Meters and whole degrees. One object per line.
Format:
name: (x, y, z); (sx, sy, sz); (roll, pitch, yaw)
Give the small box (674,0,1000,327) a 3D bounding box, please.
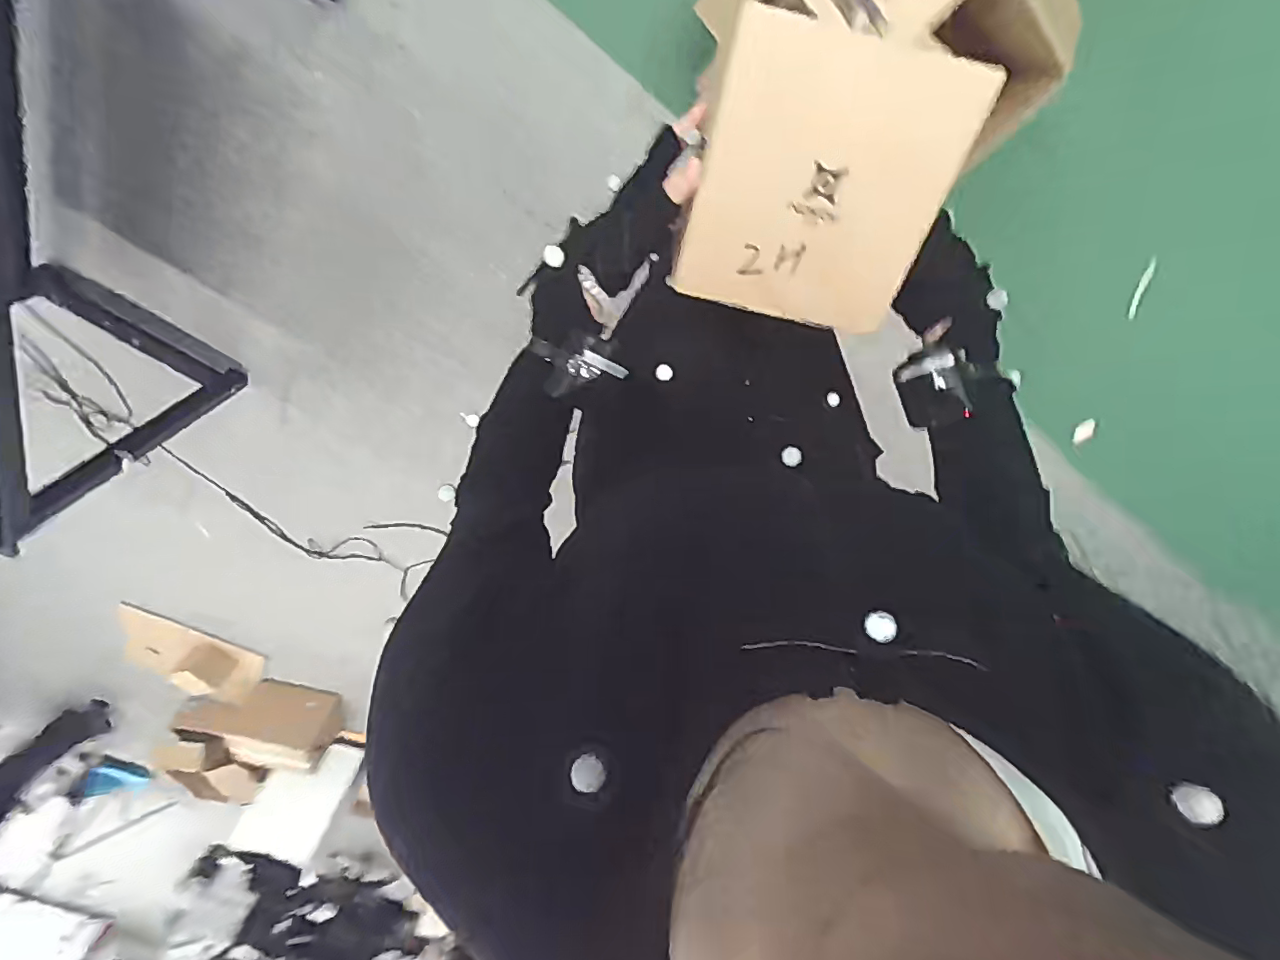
small box: (0.126, -0.252, 0.431); (0.168, 0.176, 0.179); (12, 129, -4)
